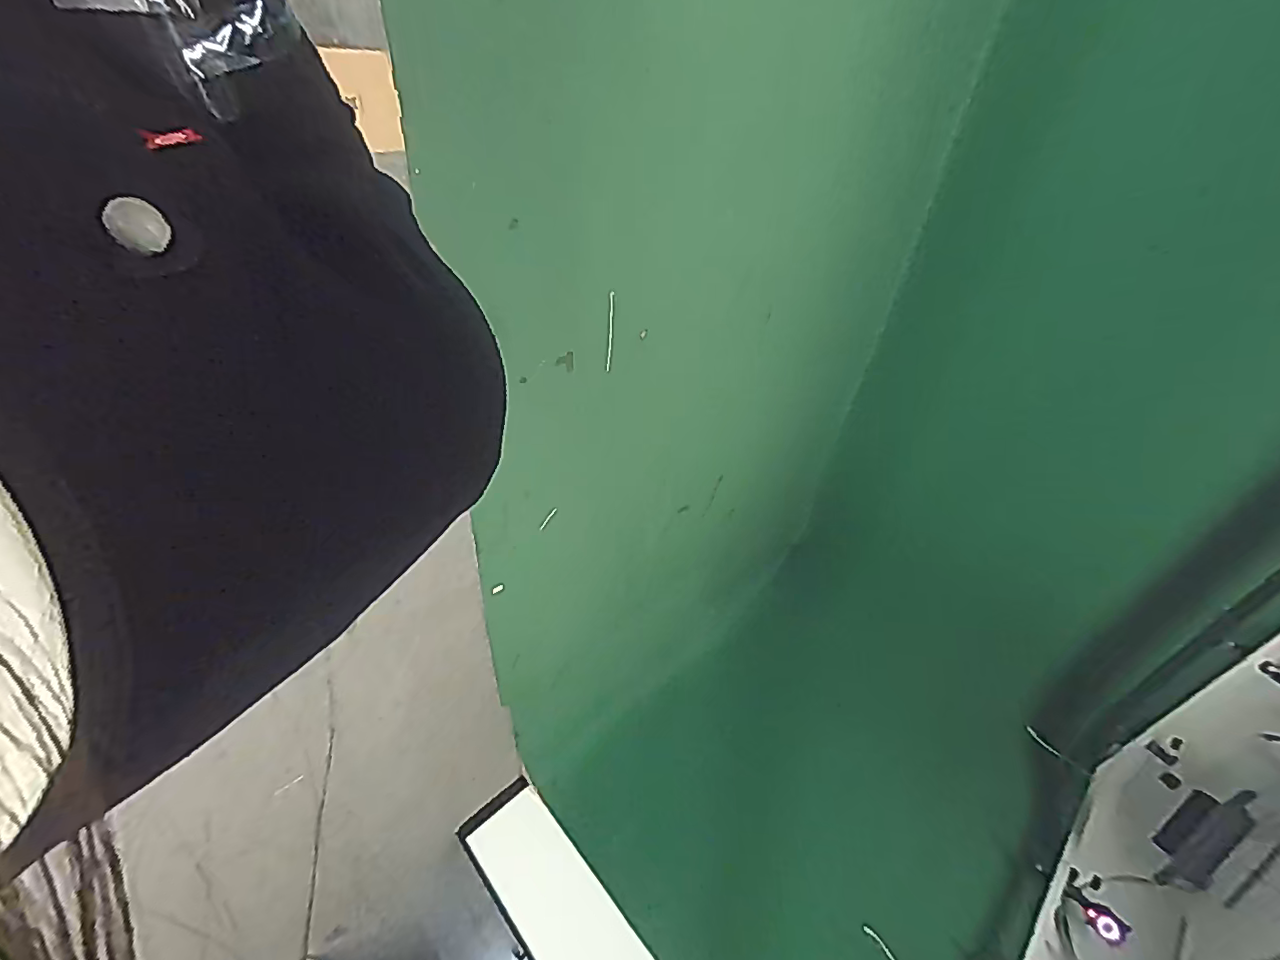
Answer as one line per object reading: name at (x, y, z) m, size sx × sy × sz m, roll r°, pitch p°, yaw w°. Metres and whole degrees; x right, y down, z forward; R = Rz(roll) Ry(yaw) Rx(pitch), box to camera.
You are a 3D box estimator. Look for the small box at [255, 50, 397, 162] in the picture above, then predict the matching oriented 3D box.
small box at (-0.613, -0.736, 1.065) m, size 0.179 × 0.176 × 0.168 m, roll -27°, pitch 137°, yaw -34°
